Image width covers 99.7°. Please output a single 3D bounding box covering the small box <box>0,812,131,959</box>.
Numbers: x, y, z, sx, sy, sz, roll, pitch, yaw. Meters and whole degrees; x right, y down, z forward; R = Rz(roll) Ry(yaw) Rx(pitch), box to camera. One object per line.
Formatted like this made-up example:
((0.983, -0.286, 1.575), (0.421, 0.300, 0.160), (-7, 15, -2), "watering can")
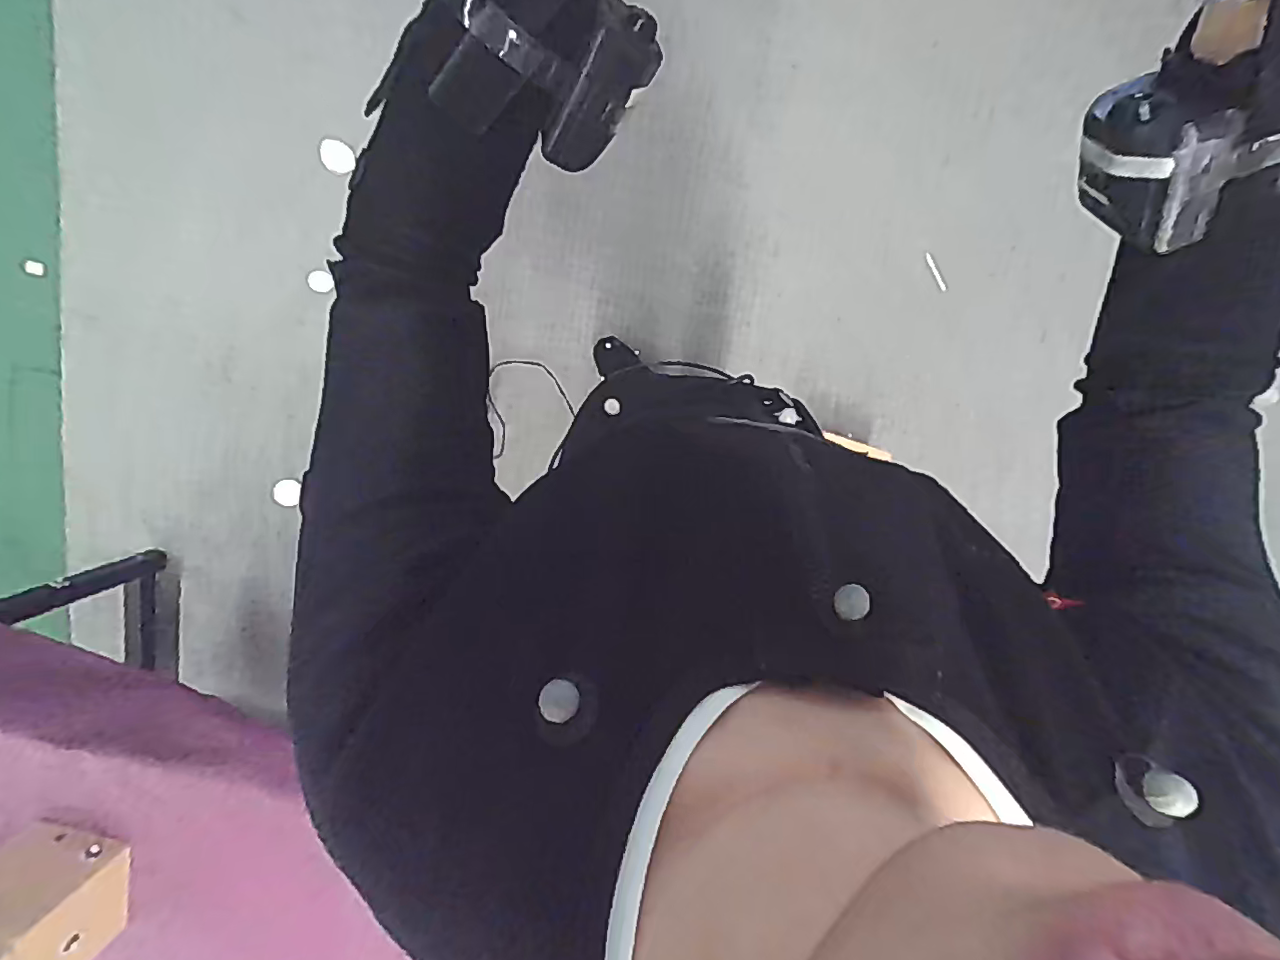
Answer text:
((-0.951, 0.664, 0.843), (0.168, 0.176, 0.179), (14, 101, 1), "small box")
